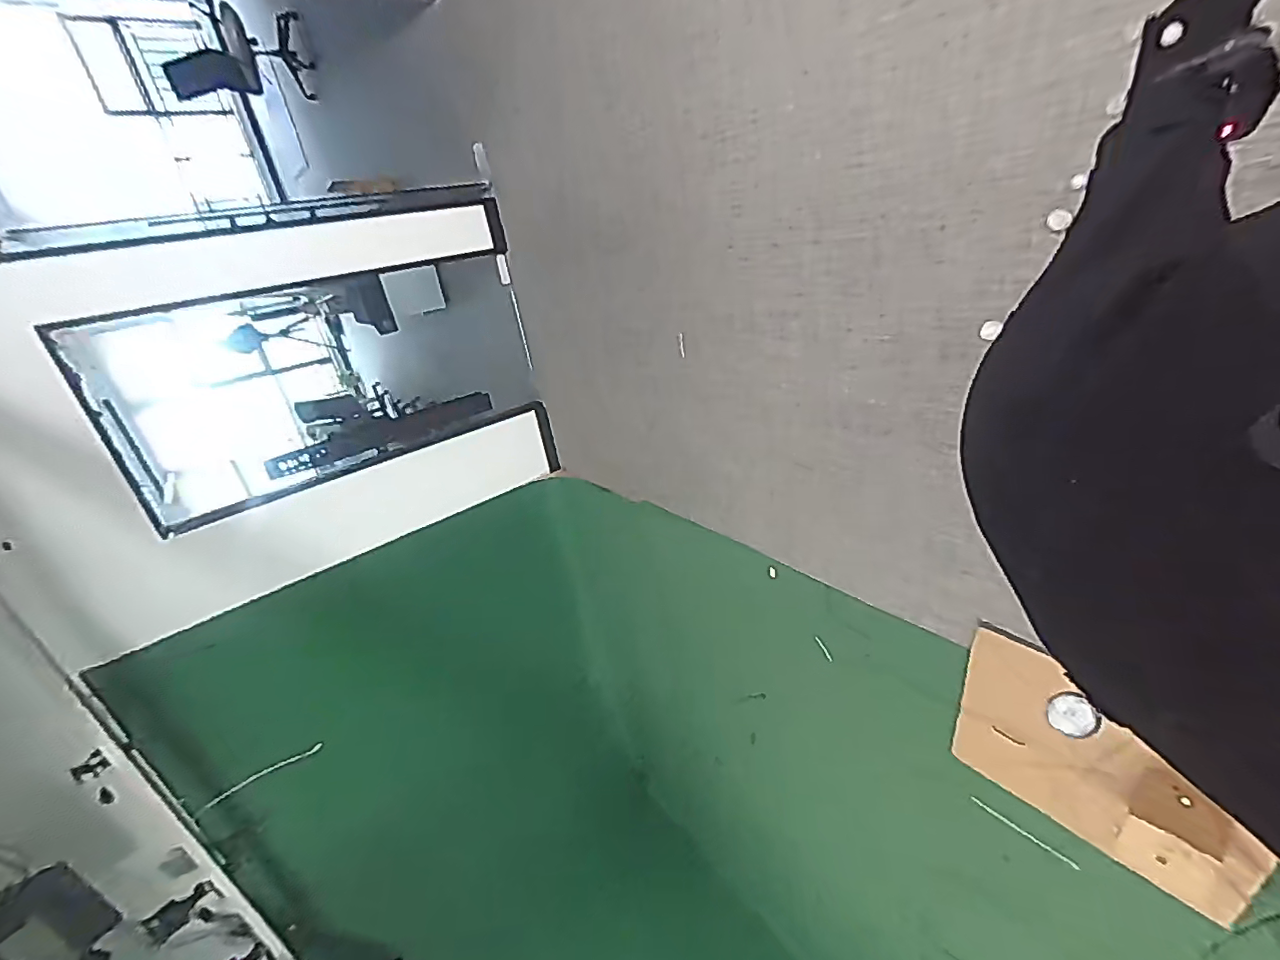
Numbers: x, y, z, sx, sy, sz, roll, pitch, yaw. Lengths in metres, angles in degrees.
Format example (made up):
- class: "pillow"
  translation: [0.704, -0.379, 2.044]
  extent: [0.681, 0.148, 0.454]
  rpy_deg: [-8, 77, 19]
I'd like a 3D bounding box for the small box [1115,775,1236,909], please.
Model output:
- class: "small box"
  translation: [1.321, 0.883, 1.333]
  extent: [0.168, 0.176, 0.179]
  rpy_deg: [22, 129, 47]
